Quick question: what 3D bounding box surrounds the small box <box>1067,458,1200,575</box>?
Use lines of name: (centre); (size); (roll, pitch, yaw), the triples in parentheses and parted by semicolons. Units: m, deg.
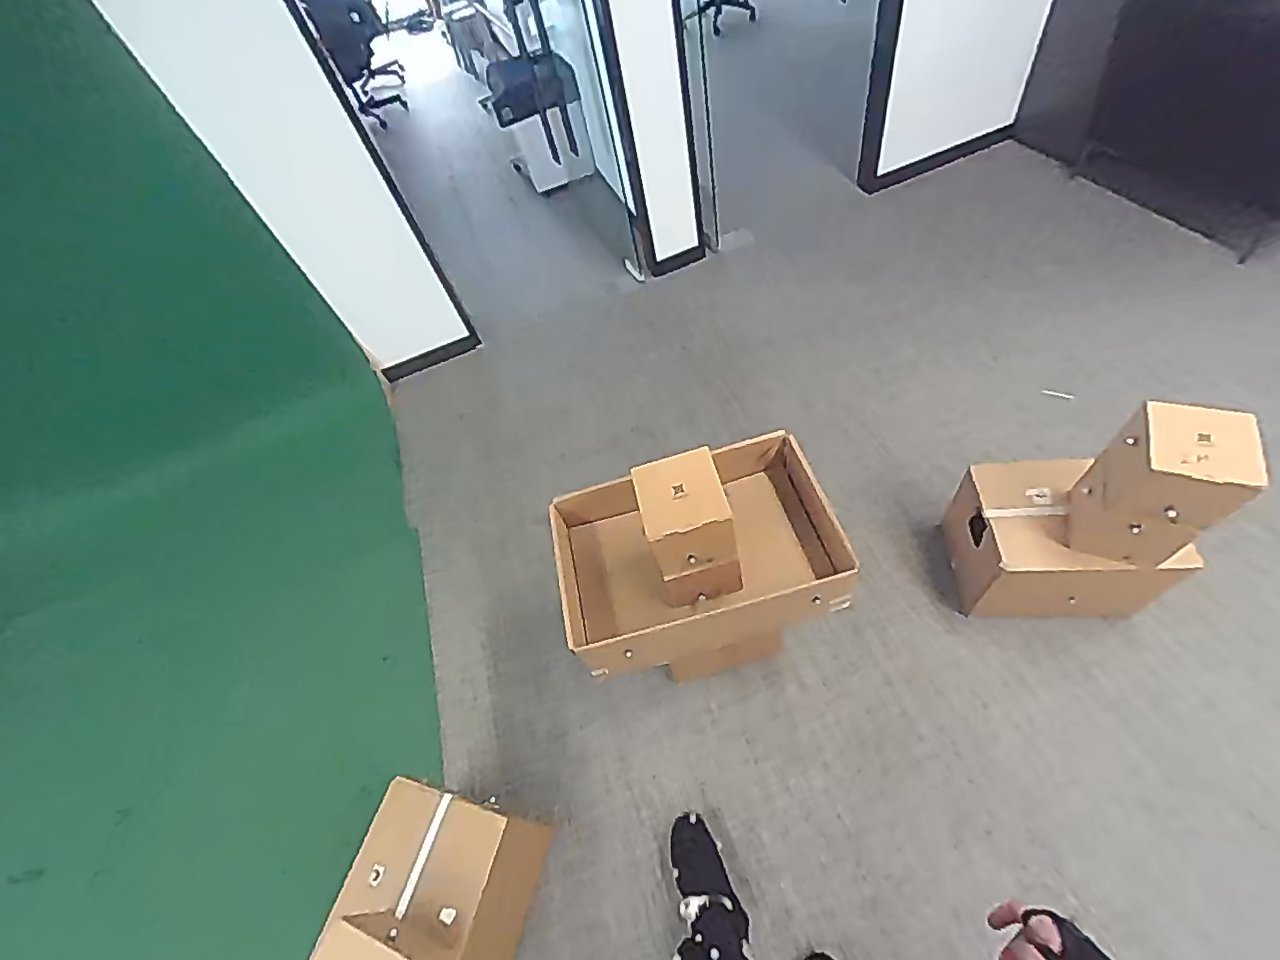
small box: (1.087, 0.083, 1.205); (0.168, 0.176, 0.179); (15, 60, 22)

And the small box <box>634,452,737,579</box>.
small box: (0.093, 0.075, 1.100); (0.168, 0.176, 0.179); (-16, 53, 2)

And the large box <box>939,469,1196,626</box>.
large box: (1.083, 0.189, 1.438); (0.408, 0.320, 0.320); (-3, 53, 12)

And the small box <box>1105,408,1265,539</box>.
small box: (1.060, -0.011, 1.072); (0.168, 0.176, 0.179); (14, 60, 22)

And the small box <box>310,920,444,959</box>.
small box: (-0.482, 0.905, 0.950); (0.179, 0.176, 0.168); (10, 56, 20)
